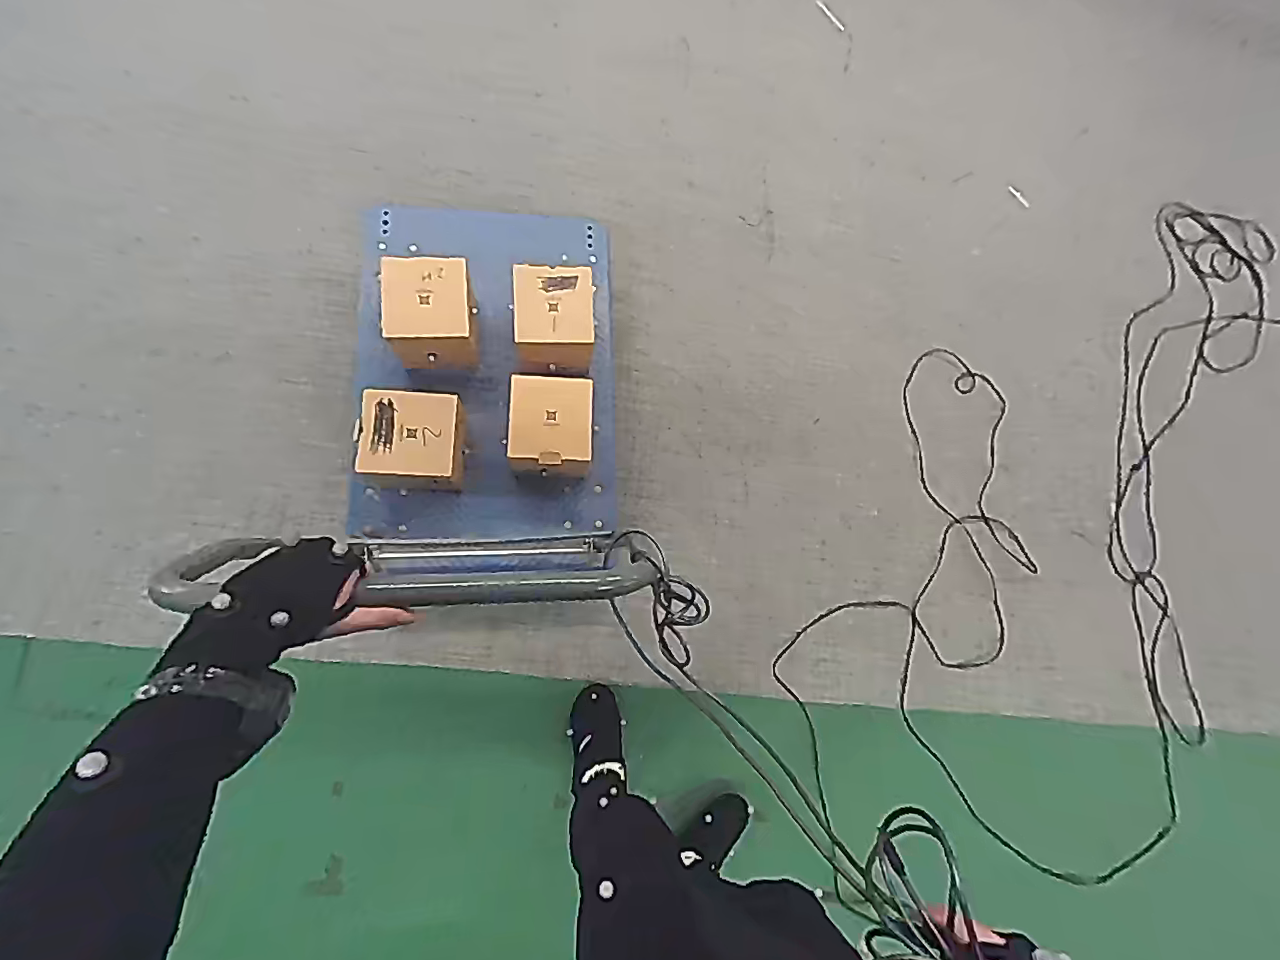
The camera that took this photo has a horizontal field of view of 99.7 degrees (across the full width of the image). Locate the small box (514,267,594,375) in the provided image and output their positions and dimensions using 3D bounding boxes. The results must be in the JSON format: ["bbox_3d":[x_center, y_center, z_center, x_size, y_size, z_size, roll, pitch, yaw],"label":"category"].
[{"bbox_3d":[-0.193,-0.347,1.204,0.168,0.176,0.179,-2,81,-9],"label":"small box"}]

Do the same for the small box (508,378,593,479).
[{"bbox_3d":[-0.191,-0.105,1.163,0.168,0.176,0.179,1,81,-9],"label":"small box"}]

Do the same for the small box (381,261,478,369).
[{"bbox_3d":[-0.445,-0.346,1.163,0.168,0.176,0.179,-4,81,-10],"label":"small box"}]
